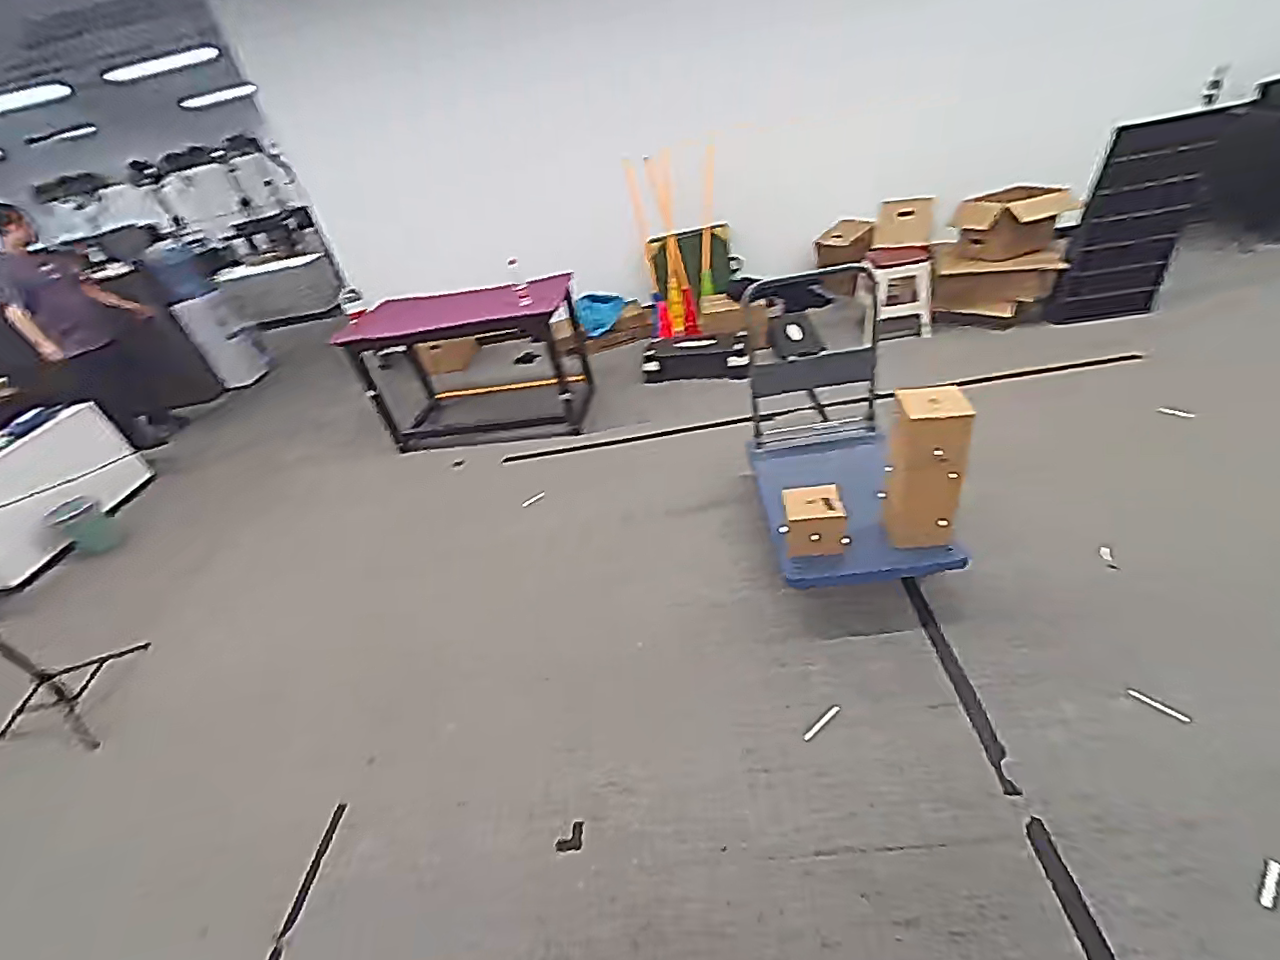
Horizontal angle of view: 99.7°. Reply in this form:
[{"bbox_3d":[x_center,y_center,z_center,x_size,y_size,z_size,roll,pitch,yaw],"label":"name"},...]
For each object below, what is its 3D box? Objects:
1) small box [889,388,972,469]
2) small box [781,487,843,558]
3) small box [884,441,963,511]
[{"bbox_3d":[0.838,-0.151,1.580,0.168,0.176,0.179,-4,36,12],"label":"small box"},{"bbox_3d":[0.576,0.146,1.821,0.179,0.176,0.168,-7,35,10],"label":"small box"},{"bbox_3d":[0.867,-0.017,1.672,0.179,0.176,0.168,-5,36,10],"label":"small box"}]
